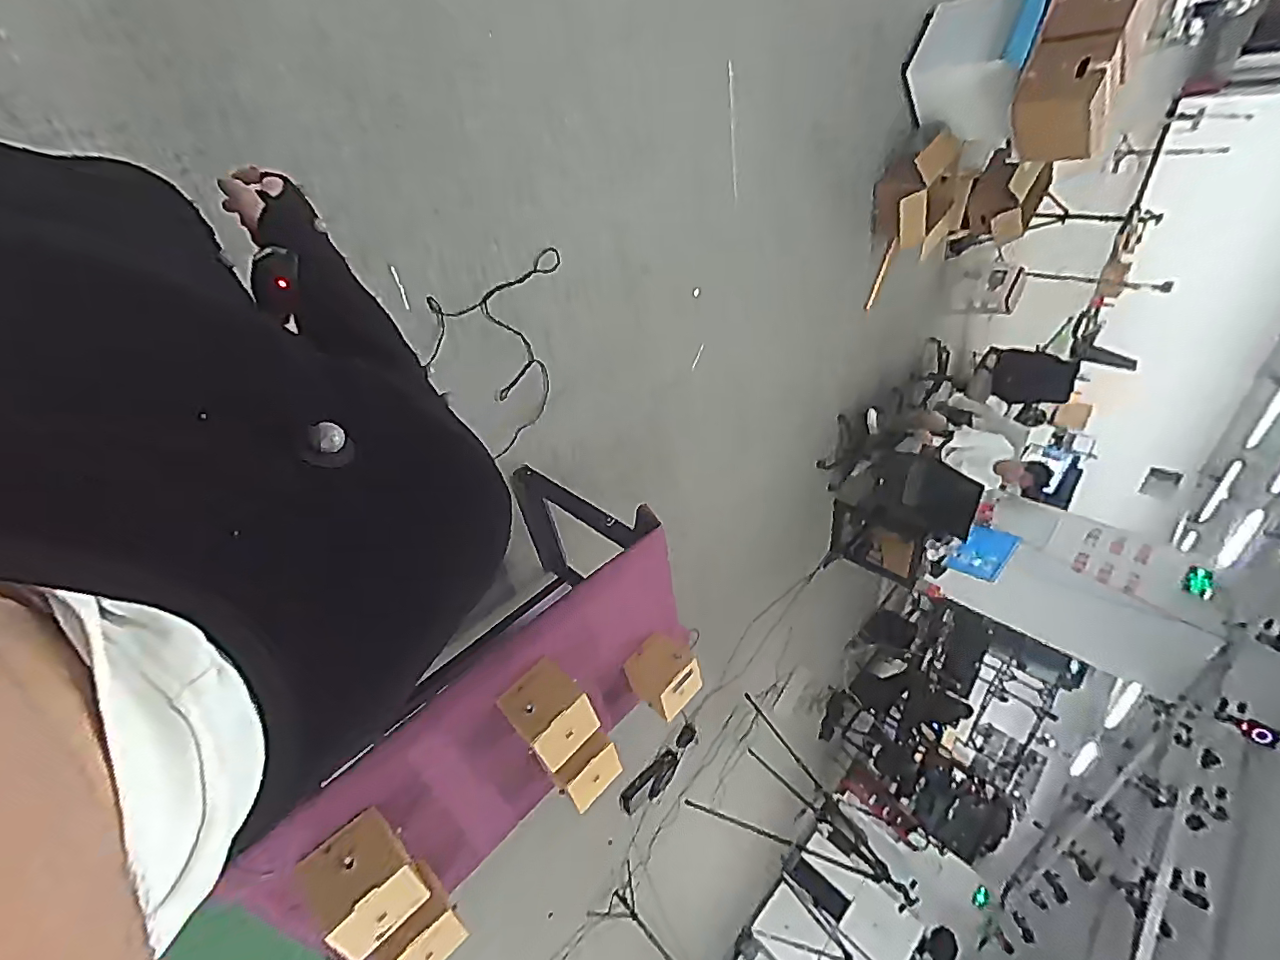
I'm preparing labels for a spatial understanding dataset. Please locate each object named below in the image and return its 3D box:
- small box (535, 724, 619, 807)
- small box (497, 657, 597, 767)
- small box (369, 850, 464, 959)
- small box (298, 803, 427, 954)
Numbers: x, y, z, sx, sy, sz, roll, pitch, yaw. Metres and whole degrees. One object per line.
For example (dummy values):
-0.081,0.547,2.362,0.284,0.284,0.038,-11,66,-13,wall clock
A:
-0.189,0.793,1.569,0.168,0.176,0.179,-36,133,-28,small box
-0.240,0.586,1.388,0.168,0.176,0.179,-37,137,-26,small box
-0.559,1.053,1.311,0.168,0.176,0.179,-32,132,-33,small box
-0.588,0.832,1.147,0.168,0.176,0.179,-32,133,-33,small box
